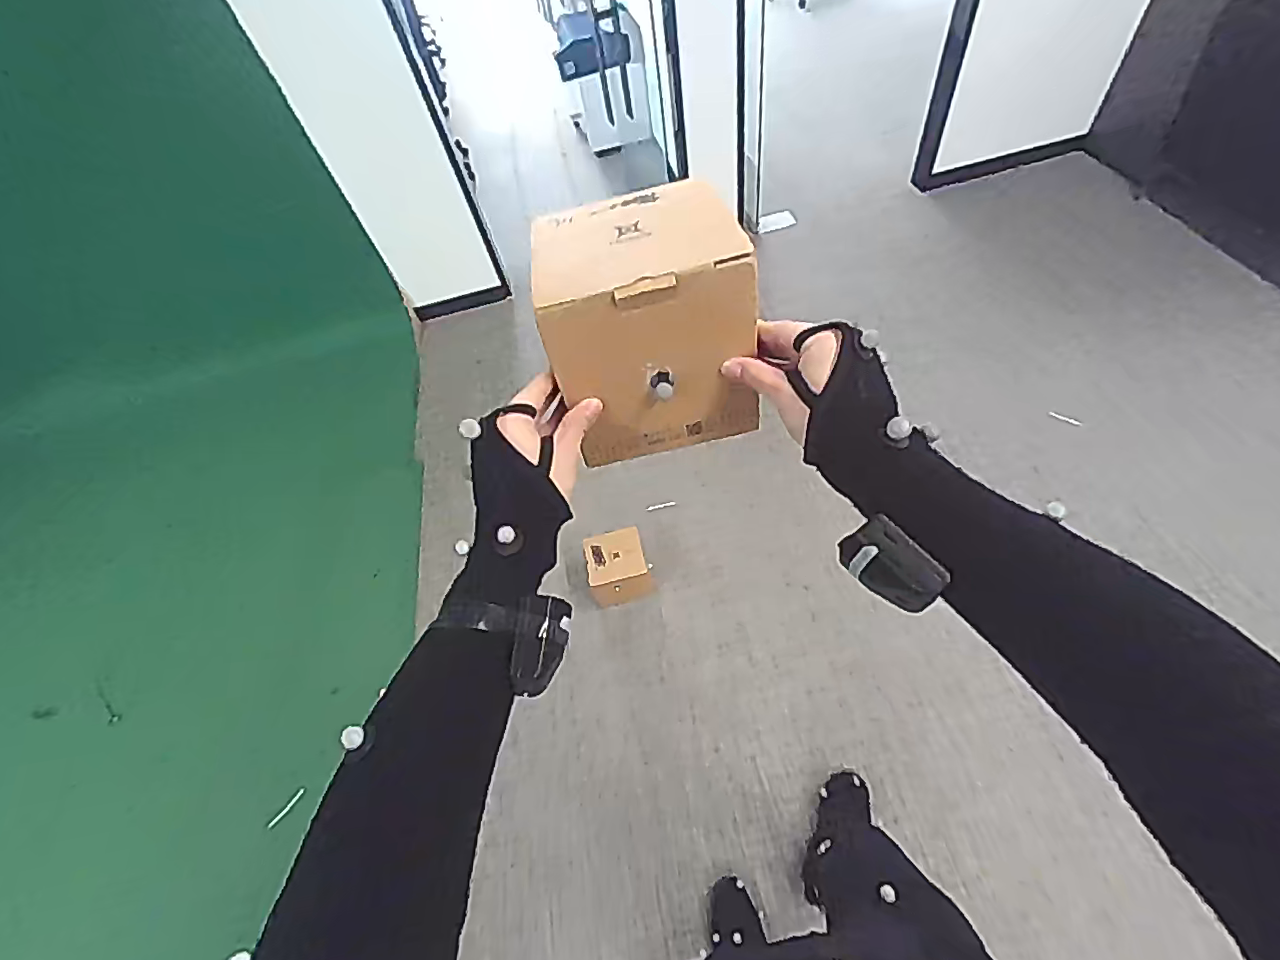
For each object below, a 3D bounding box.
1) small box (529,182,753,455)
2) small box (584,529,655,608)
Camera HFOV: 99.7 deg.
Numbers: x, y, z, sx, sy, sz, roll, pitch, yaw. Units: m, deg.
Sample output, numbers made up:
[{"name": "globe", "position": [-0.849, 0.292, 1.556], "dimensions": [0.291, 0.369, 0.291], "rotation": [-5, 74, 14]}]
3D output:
[{"name": "small box", "position": [0.003, -0.141, 0.501], "dimensions": [0.168, 0.176, 0.179], "rotation": [-13, 46, 2]}, {"name": "small box", "position": [-0.062, 0.282, 1.686], "dimensions": [0.179, 0.176, 0.168], "rotation": [-14, 54, 0]}]
